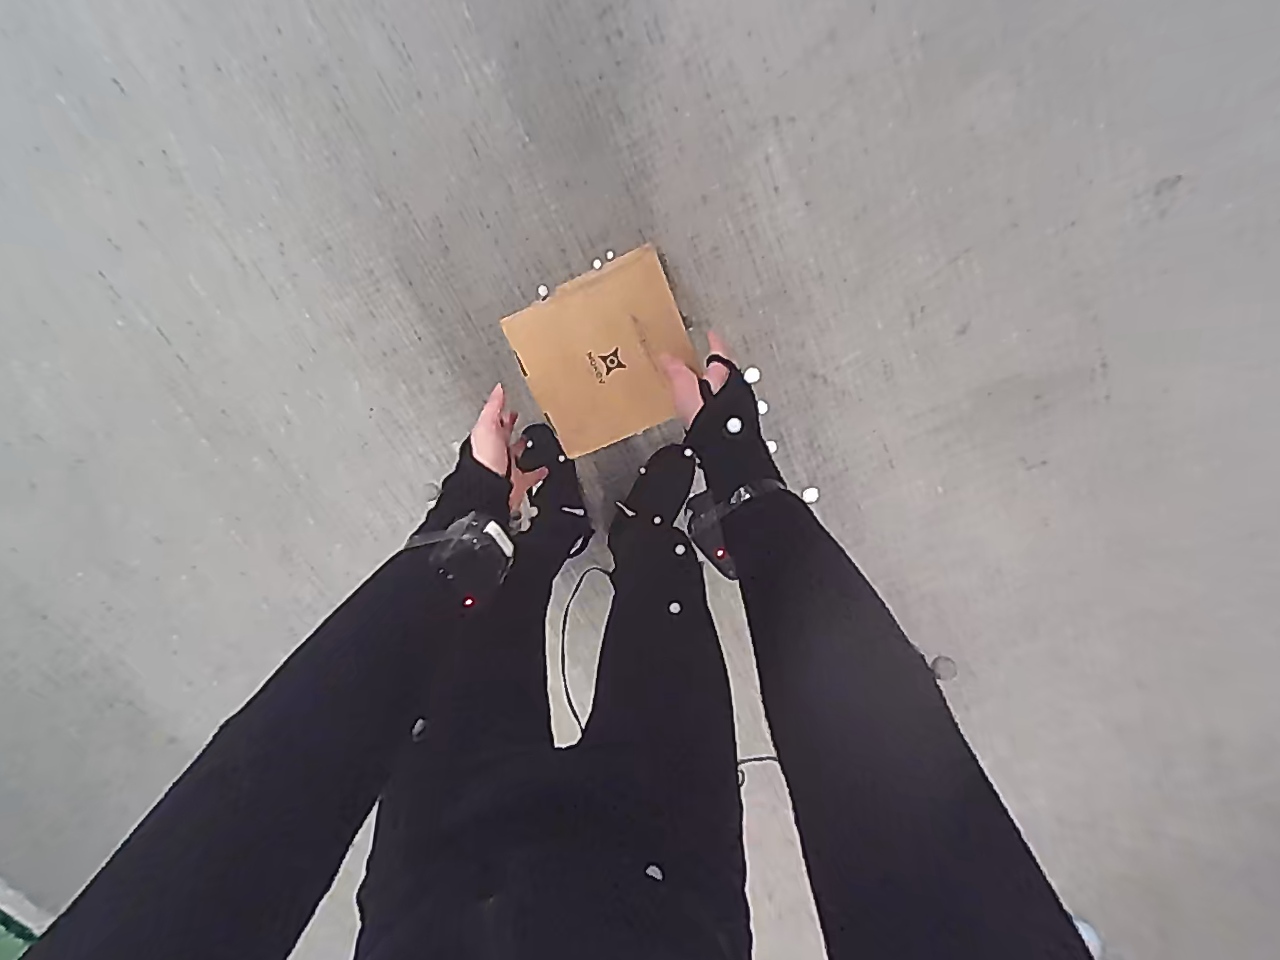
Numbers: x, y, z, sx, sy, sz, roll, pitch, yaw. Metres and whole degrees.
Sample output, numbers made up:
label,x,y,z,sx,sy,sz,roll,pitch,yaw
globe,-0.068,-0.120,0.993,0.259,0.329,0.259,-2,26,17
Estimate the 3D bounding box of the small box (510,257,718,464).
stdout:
label,x,y,z,sx,sy,sz,roll,pitch,yaw
small box,-0.025,-0.146,0.641,0.179,0.176,0.168,-23,111,8
